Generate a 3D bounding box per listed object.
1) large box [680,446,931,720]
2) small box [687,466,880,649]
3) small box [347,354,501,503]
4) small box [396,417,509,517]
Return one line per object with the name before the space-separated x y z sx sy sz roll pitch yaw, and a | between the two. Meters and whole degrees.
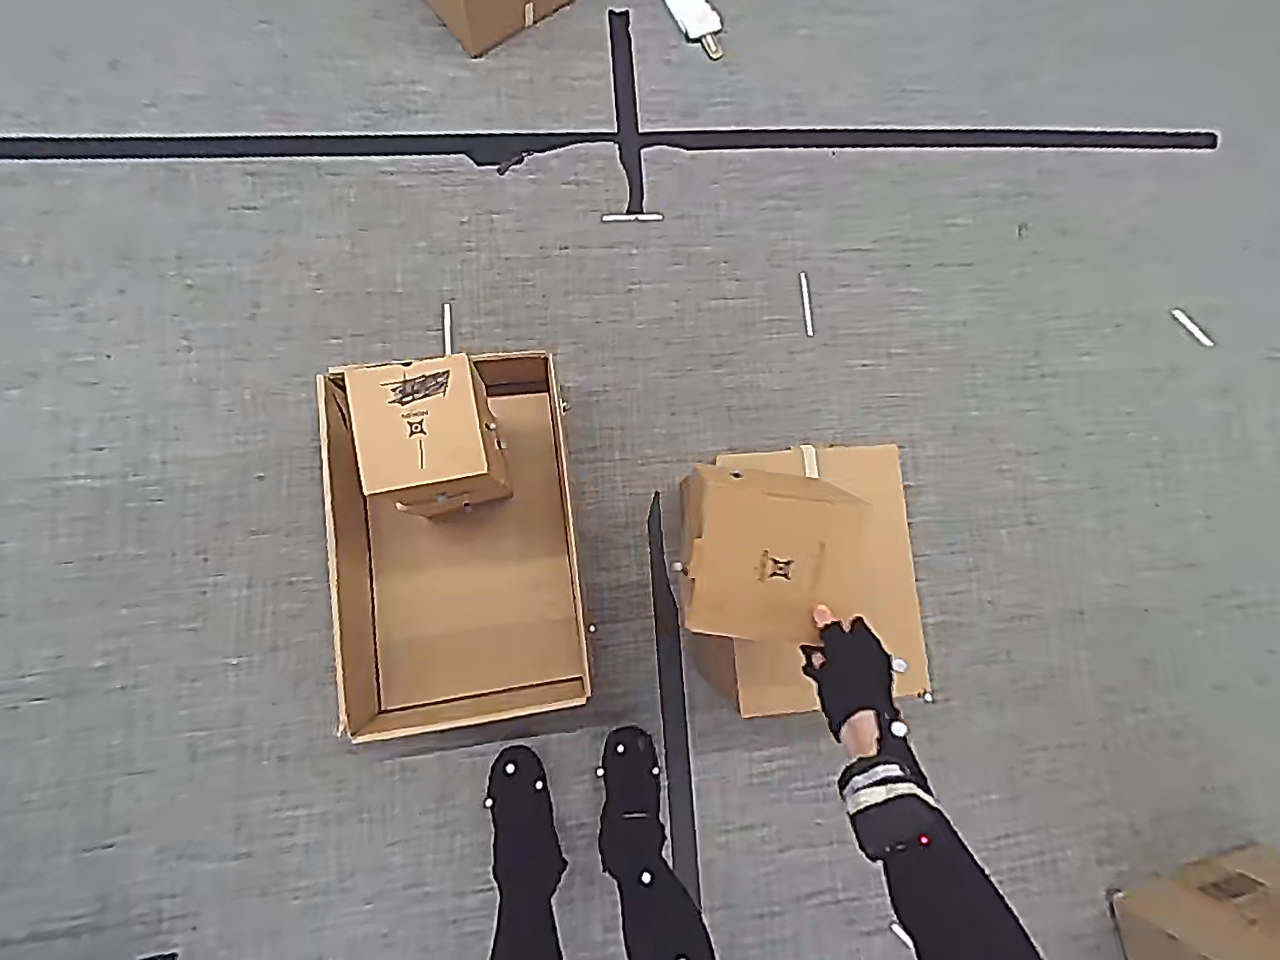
large box | 0.269 0.169 0.996 0.320 0.320 0.408 -4 84 -7
small box | 0.154 0.080 0.649 0.179 0.176 0.168 7 99 0
small box | -0.313 -0.068 0.812 0.168 0.176 0.179 -11 85 -8
small box | -0.340 -0.035 0.972 0.179 0.176 0.168 -15 85 -9
